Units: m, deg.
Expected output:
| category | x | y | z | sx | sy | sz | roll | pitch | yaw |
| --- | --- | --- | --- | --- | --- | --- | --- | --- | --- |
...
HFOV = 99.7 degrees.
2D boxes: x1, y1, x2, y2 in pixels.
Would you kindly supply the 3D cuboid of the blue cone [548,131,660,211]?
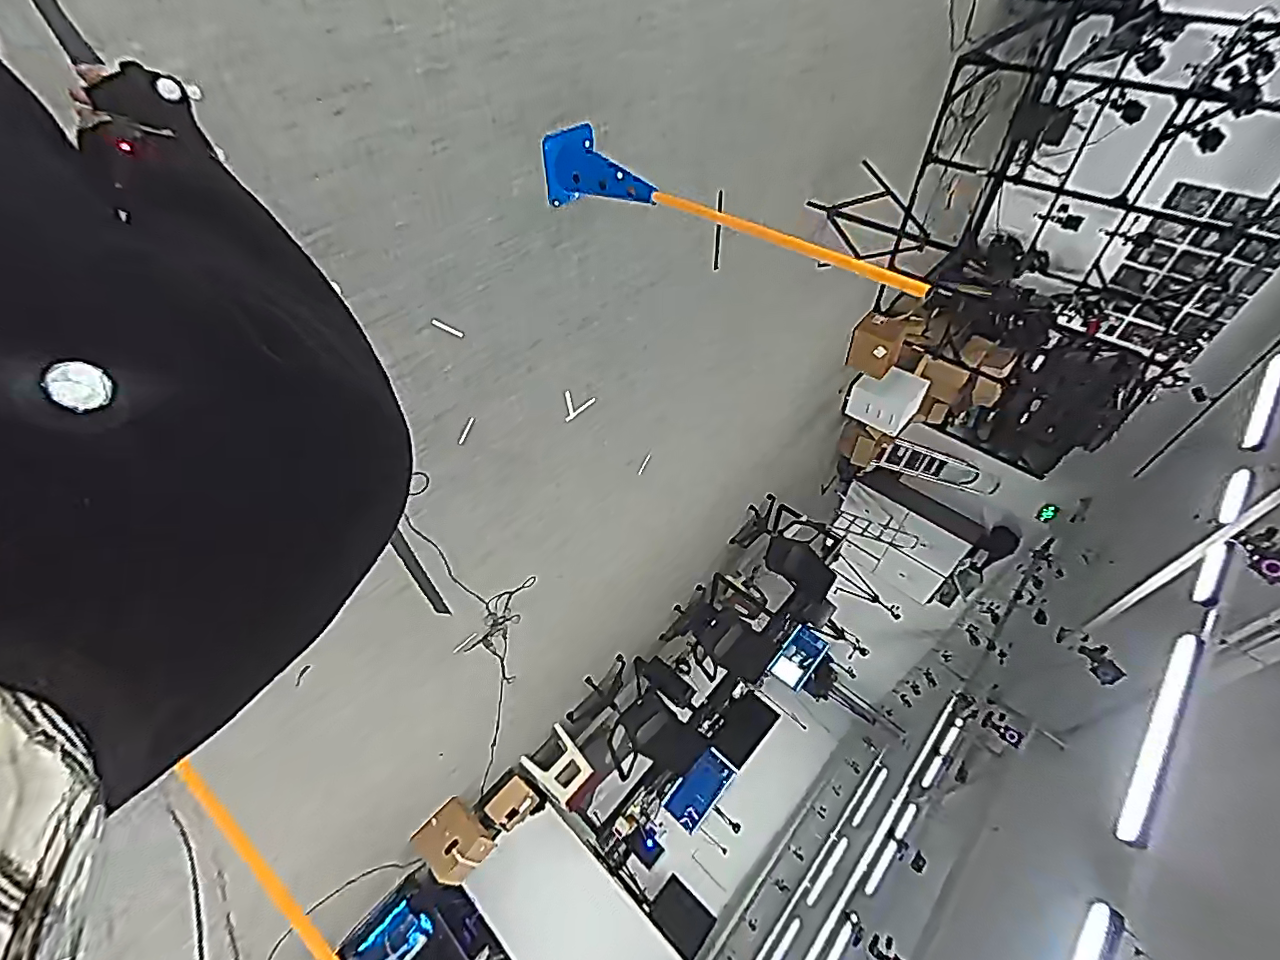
| category | x | y | z | sx | sy | sz | roll | pitch | yaw |
| --- | --- | --- | --- | --- | --- | --- | --- | --- | --- |
| blue cone | -0.091 | -0.887 | 1.615 | 0.193 | 0.380 | 0.192 | -38 | 149 | -30 |
